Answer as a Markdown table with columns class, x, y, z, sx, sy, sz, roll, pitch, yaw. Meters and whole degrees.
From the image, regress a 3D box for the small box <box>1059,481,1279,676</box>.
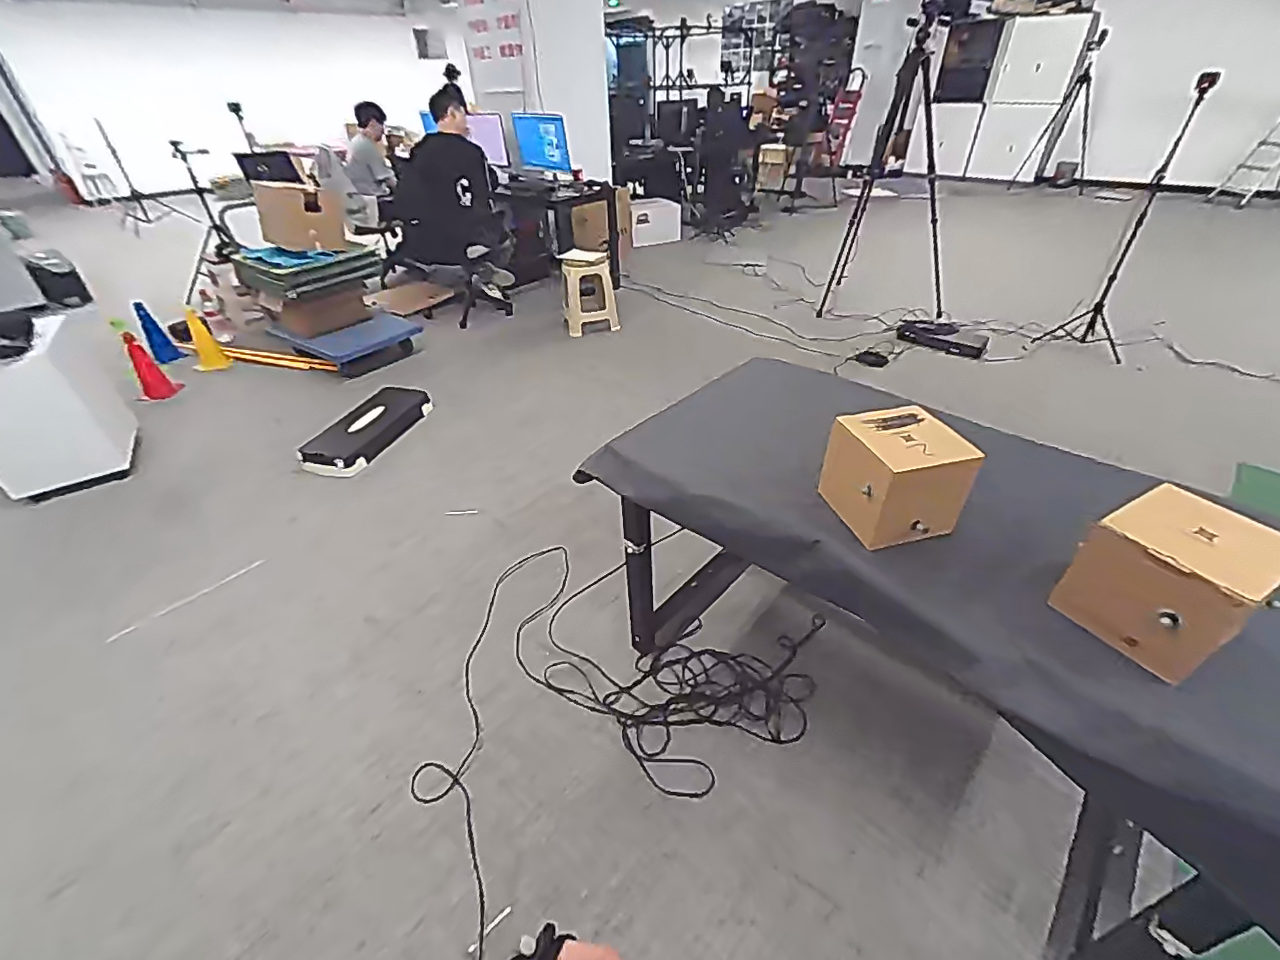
| class | x | y | z | sx | sy | sz | roll | pitch | yaw |
| --- | --- | --- | --- | --- | --- | --- | --- | --- | --- |
| small box | 0.723 | 0.132 | 0.739 | 0.179 | 0.176 | 0.168 | -18 | 40 | -22 |
